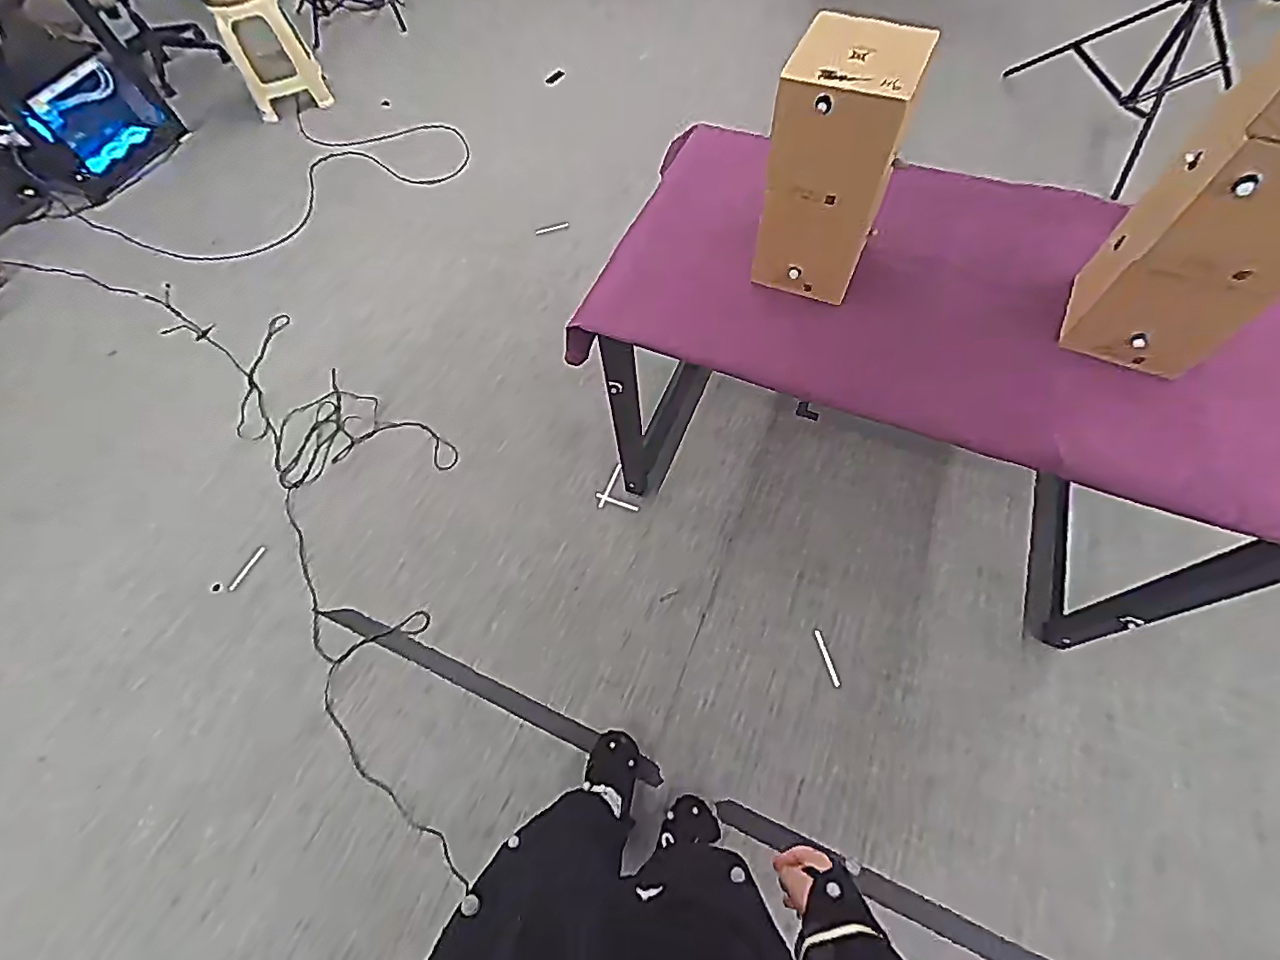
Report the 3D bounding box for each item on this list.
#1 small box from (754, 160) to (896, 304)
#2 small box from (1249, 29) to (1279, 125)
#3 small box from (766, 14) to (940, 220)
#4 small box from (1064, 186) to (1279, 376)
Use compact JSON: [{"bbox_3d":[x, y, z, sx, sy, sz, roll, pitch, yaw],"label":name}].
[{"bbox_3d":[0.302,-0.433,0.911,0.168,0.176,0.179,21,66,14],"label":"small box"},{"bbox_3d":[0.749,-0.439,0.512,0.168,0.176,0.179,27,66,16],"label":"small box"},{"bbox_3d":[0.290,-0.510,0.766,0.168,0.176,0.179,22,65,15],"label":"small box"},{"bbox_3d":[0.776,-0.290,0.802,0.168,0.176,0.179,24,67,17],"label":"small box"}]
